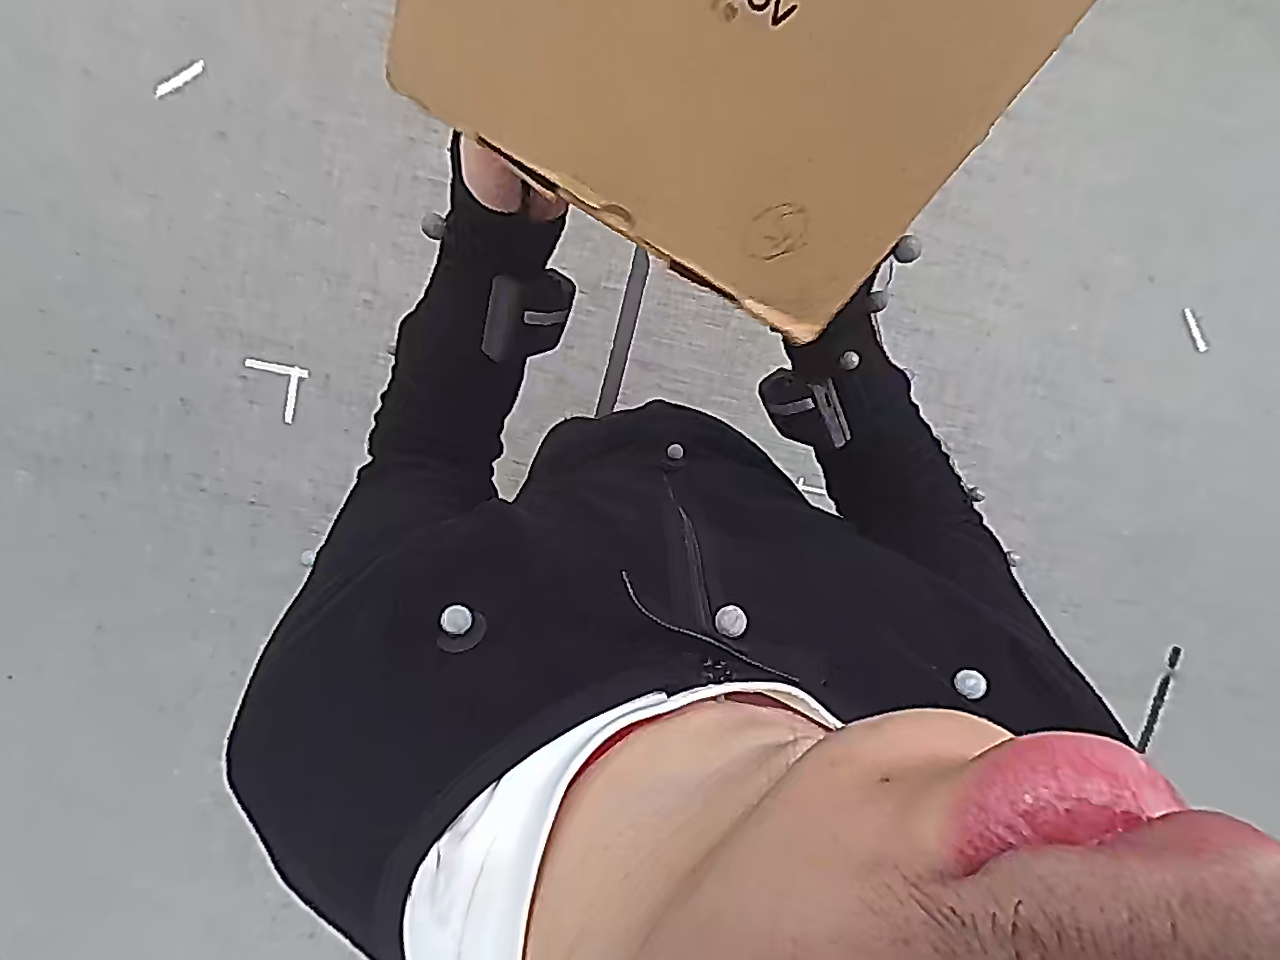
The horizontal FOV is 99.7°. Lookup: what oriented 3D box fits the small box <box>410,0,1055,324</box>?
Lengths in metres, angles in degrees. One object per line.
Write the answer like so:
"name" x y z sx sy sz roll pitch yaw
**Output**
"small box" 0.041 -0.199 0.208 0.168 0.176 0.179 24 126 -11
